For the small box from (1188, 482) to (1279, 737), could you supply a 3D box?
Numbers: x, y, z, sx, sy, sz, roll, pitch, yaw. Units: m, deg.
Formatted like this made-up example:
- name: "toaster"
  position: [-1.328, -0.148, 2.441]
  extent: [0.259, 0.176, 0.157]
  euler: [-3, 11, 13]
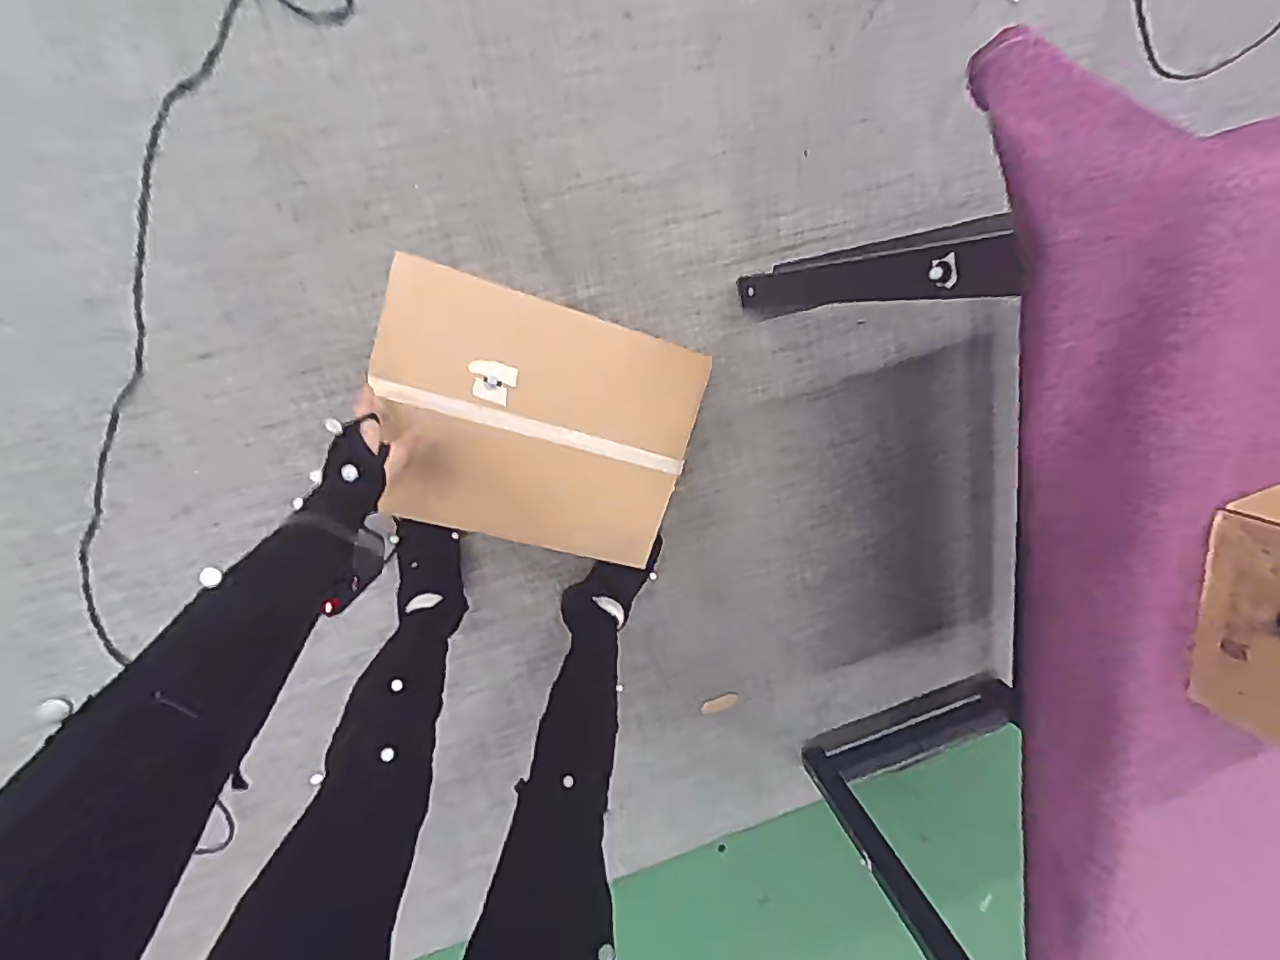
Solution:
- name: "small box"
  position: [0.507, 0.089, 0.331]
  extent: [0.179, 0.176, 0.168]
  euler: [-16, 109, -8]
